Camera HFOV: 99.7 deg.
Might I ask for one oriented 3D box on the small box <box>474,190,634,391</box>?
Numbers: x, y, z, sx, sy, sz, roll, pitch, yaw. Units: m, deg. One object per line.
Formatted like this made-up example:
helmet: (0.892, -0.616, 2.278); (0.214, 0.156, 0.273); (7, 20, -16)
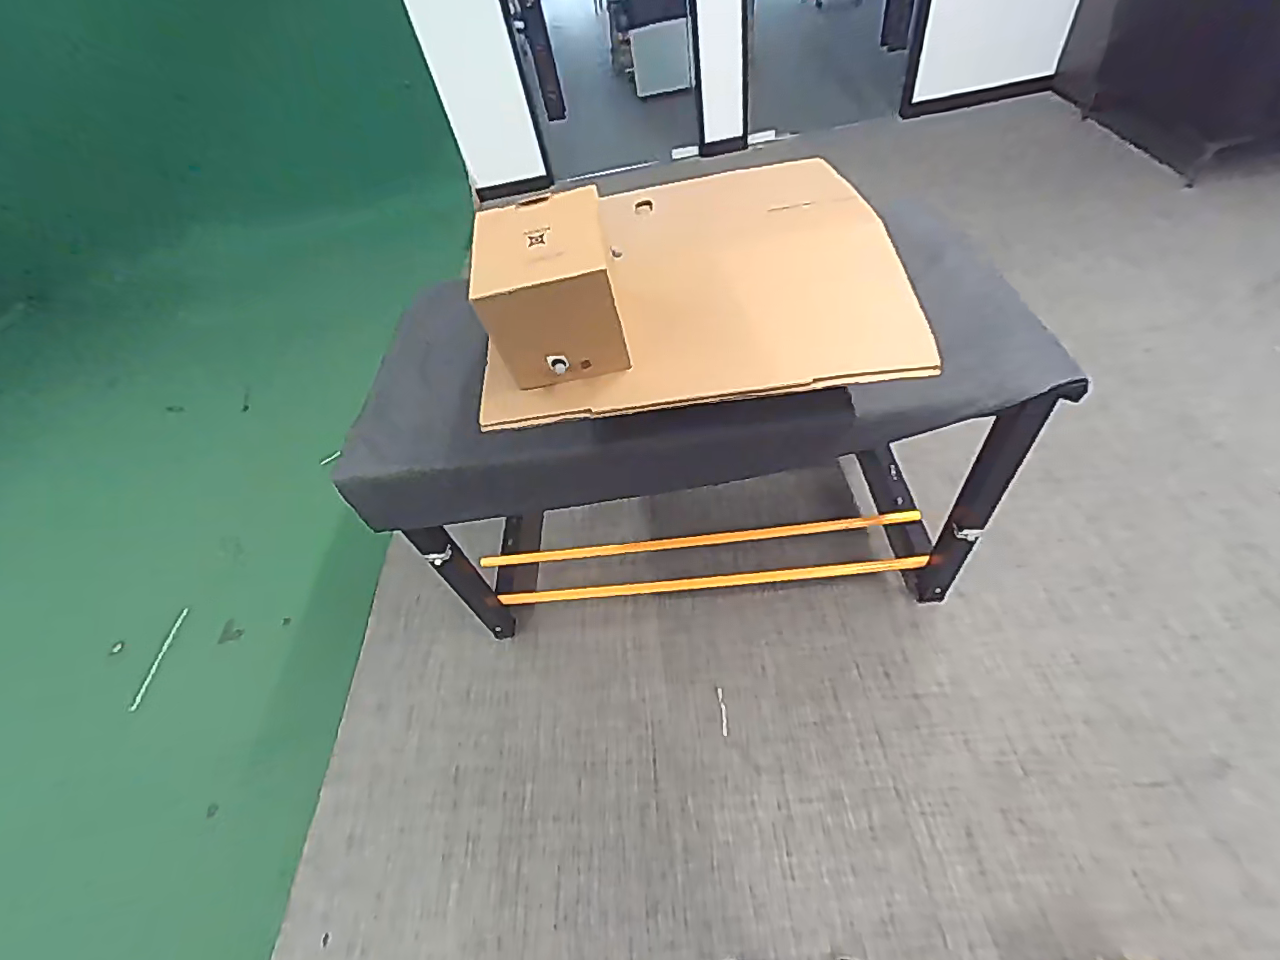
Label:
small box: (-0.110, -0.250, 0.733); (0.168, 0.176, 0.179); (-12, 58, 5)
